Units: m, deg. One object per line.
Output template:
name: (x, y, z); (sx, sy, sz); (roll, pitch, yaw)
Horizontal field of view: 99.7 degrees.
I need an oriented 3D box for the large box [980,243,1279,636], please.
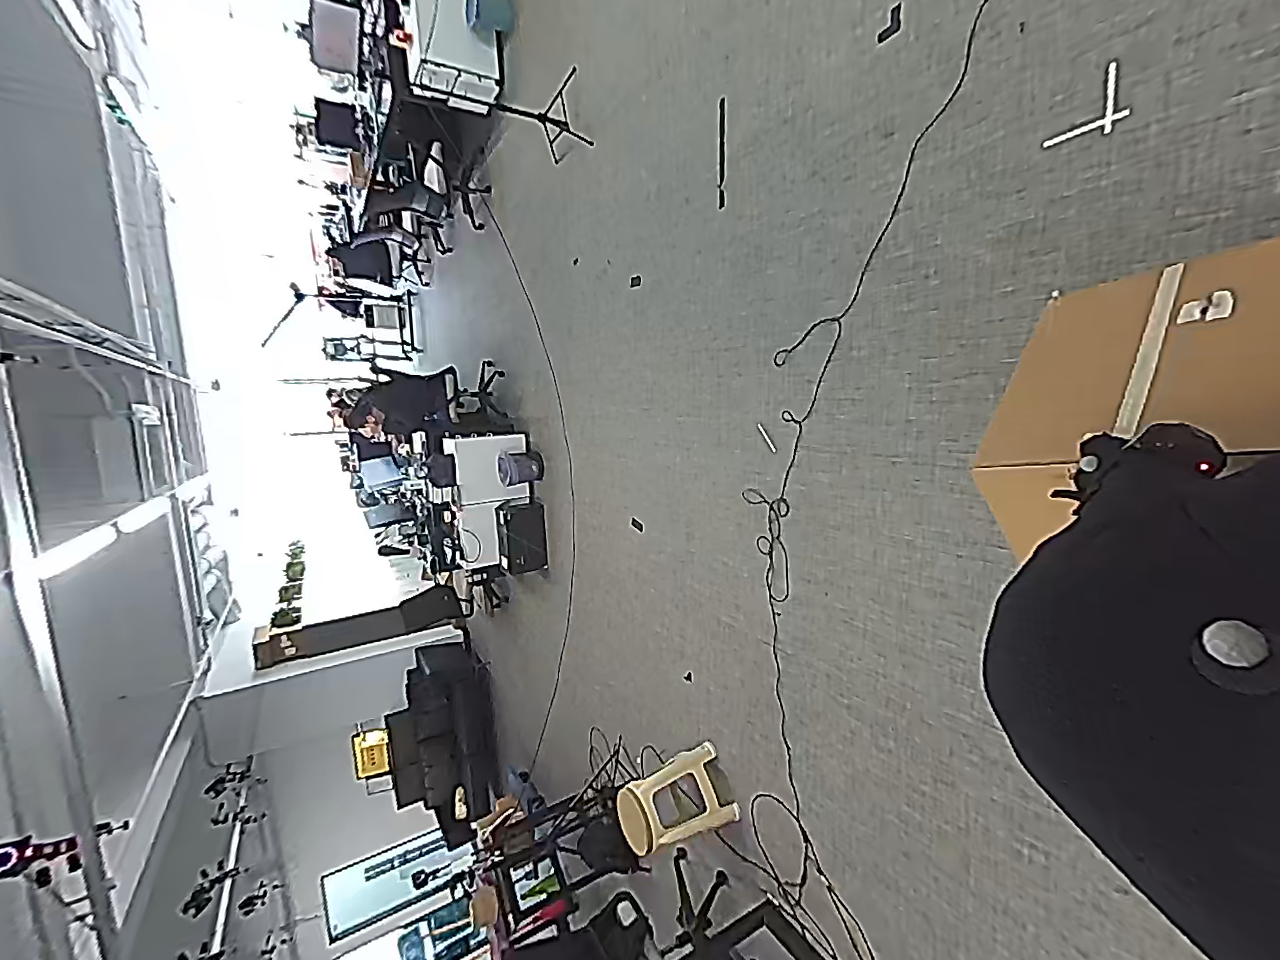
large box: (0.742, -0.050, 0.738); (0.320, 0.408, 0.320); (51, 154, -22)
